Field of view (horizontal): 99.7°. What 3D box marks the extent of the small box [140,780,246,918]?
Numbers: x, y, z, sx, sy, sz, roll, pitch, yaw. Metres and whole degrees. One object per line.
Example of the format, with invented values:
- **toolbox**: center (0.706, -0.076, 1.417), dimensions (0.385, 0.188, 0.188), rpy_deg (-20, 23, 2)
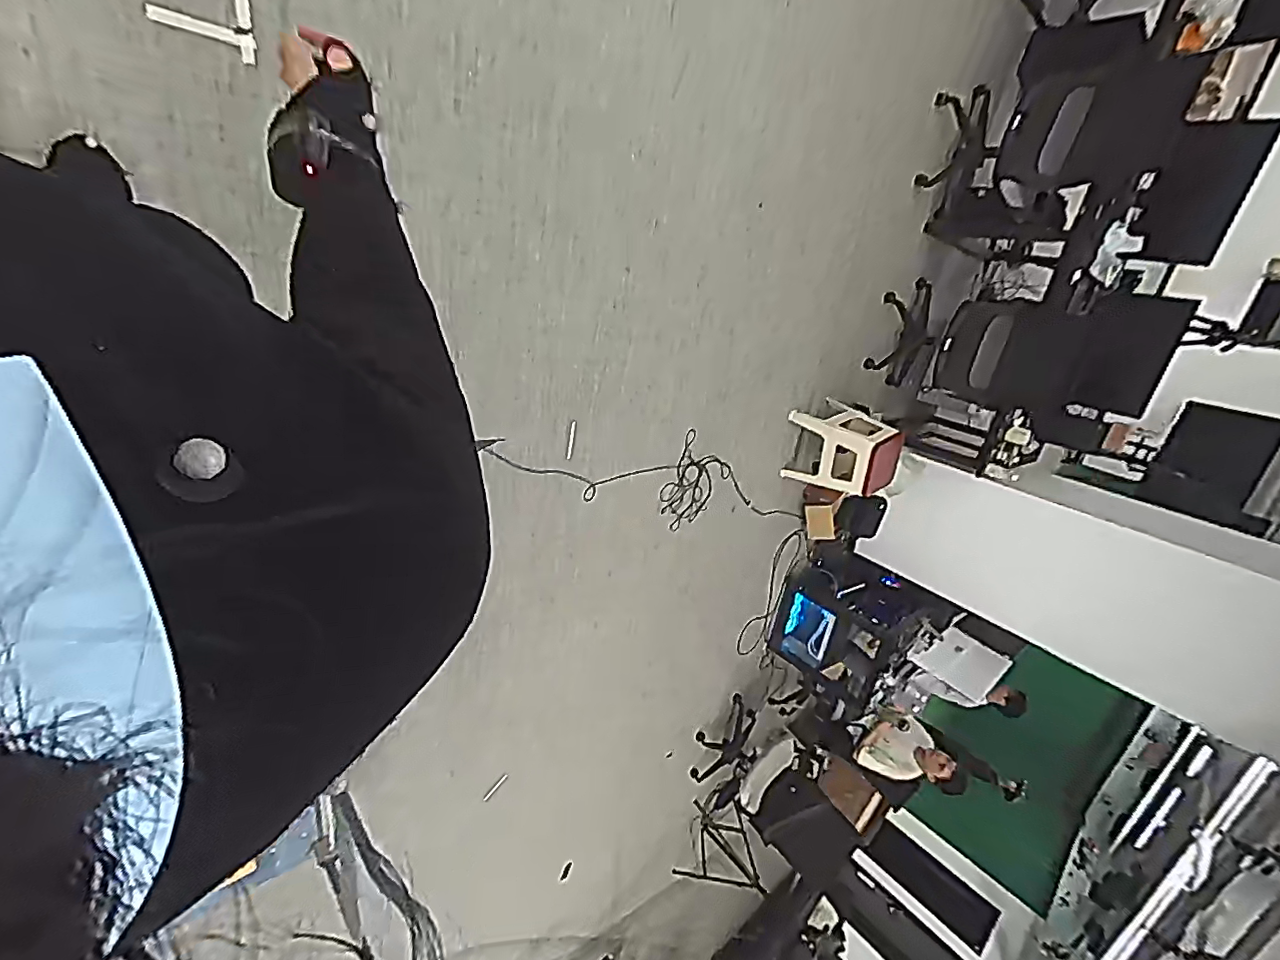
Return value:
- **small box**: center (-1.062, 0.867, 1.288), dimensions (0.168, 0.176, 0.179), rpy_deg (-14, 121, -39)
